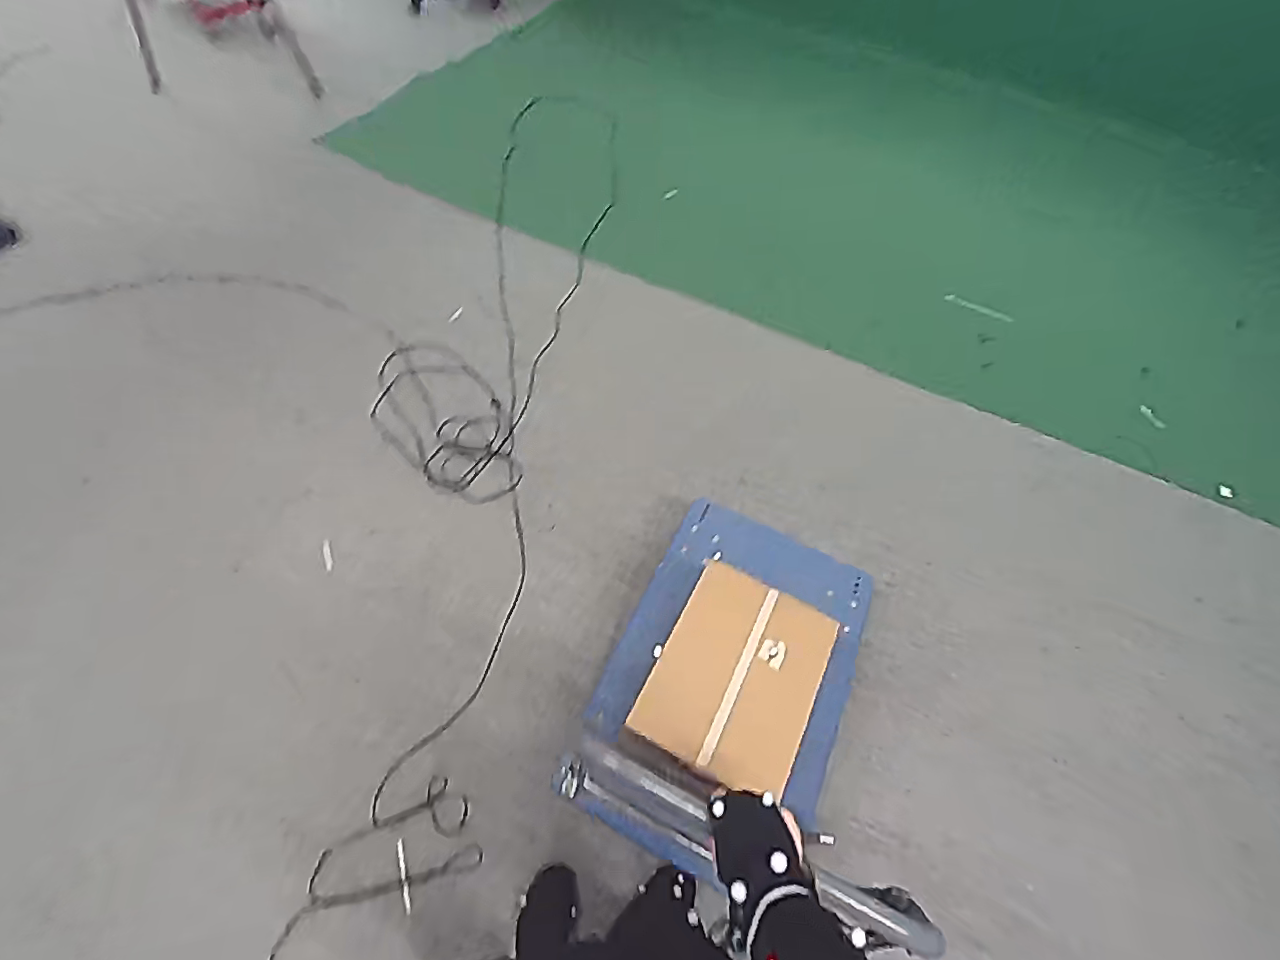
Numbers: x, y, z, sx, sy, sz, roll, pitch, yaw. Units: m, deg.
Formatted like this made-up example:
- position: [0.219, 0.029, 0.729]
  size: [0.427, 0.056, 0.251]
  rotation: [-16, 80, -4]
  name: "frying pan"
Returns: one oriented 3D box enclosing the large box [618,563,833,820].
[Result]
- position: [0.179, 0.475, 1.210]
  size: [0.320, 0.320, 0.408]
  rotation: [27, 58, 11]
  name: "large box"
